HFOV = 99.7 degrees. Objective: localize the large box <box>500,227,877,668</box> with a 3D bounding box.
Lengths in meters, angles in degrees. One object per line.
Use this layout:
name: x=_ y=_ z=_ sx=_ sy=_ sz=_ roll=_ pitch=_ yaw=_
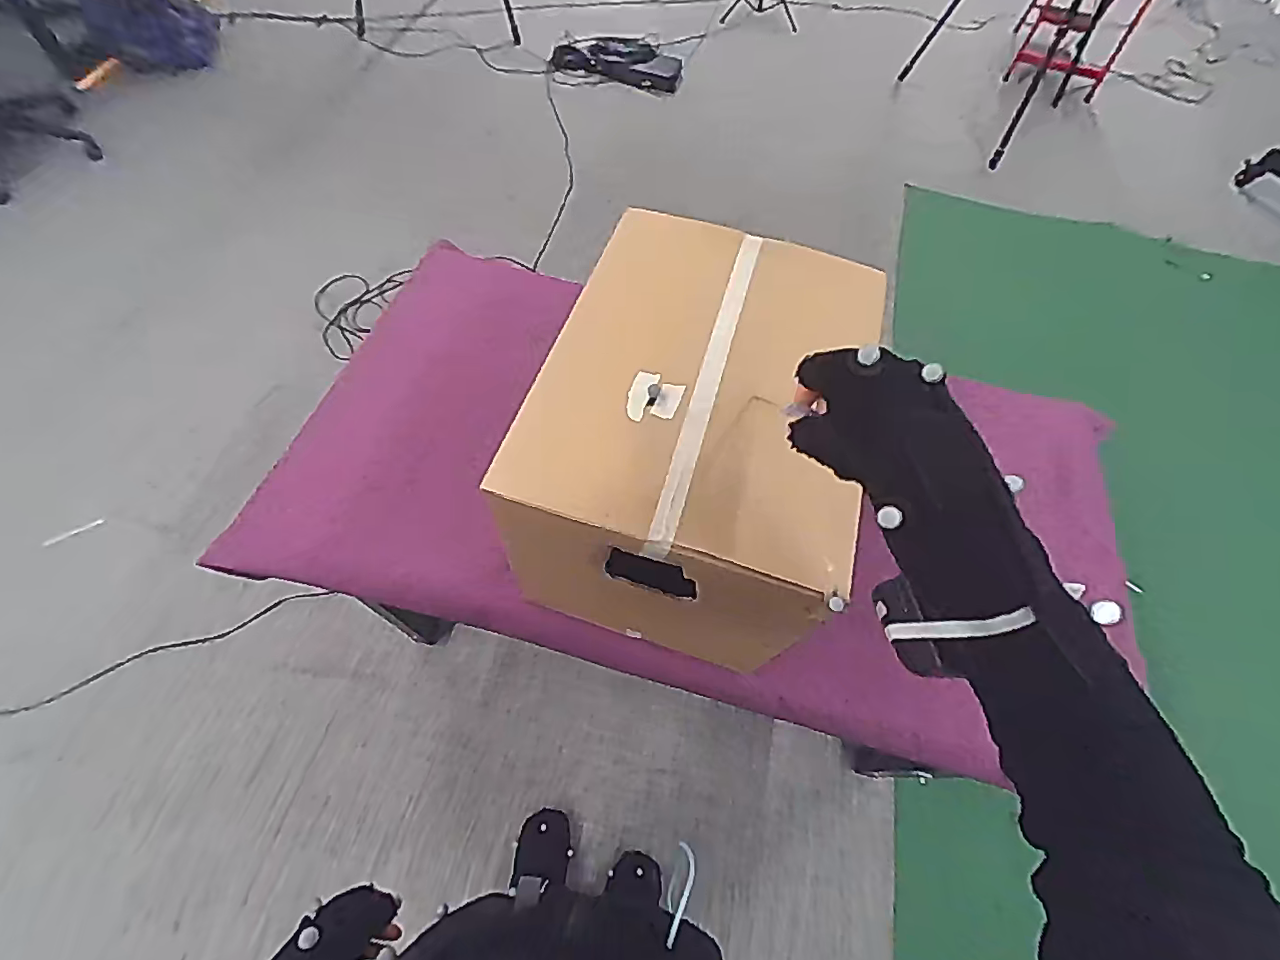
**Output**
large box: x=0.065 y=-0.030 z=0.682 sx=0.320 sy=0.320 sz=0.408 roll=17 pitch=61 yaw=5
